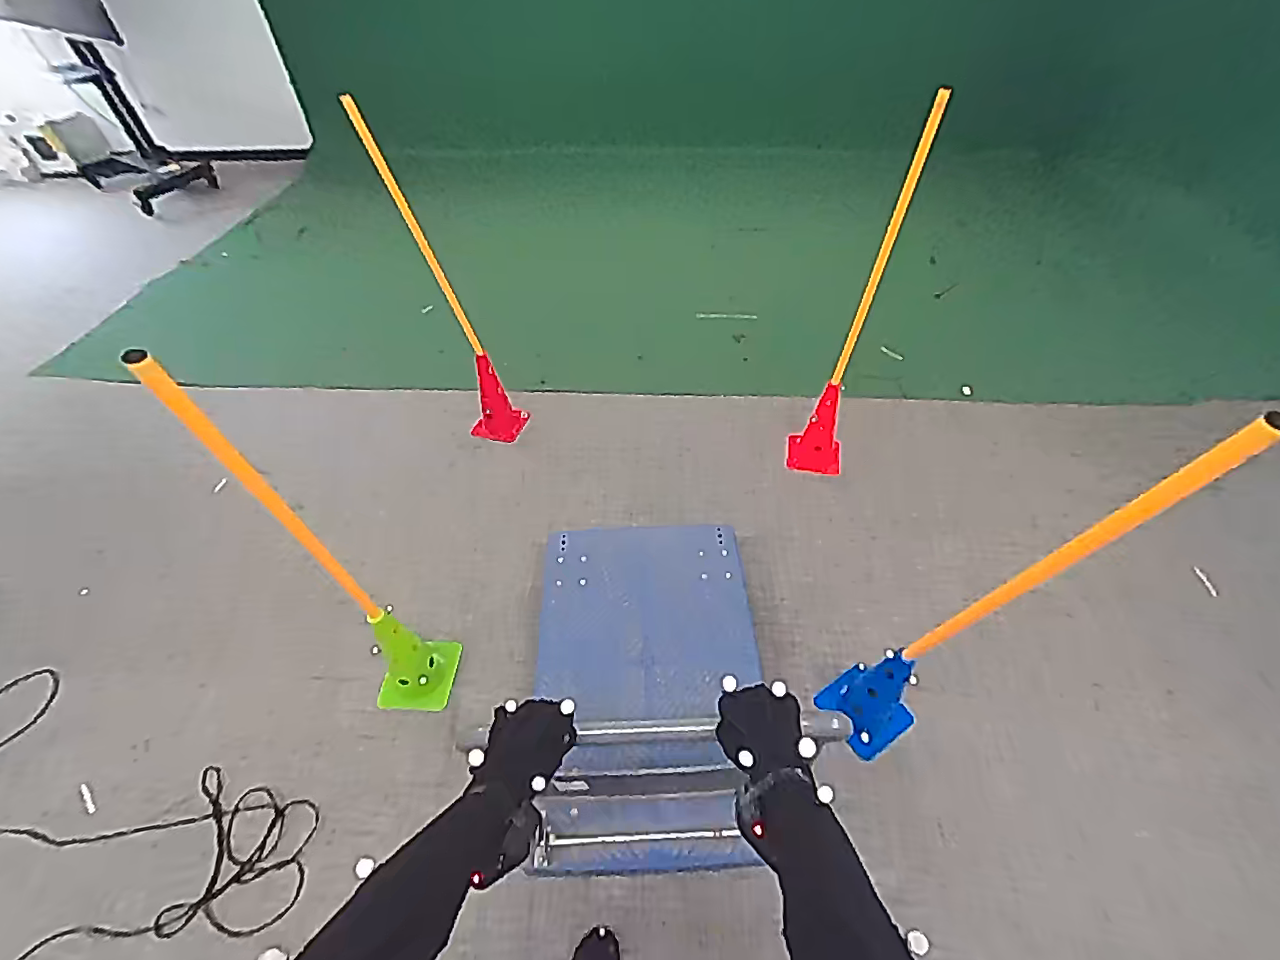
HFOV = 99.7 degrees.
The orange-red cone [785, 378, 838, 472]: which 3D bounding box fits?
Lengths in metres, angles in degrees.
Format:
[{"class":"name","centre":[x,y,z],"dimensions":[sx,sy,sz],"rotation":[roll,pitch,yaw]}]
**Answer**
[{"class":"orange-red cone","centre":[0.672,-0.225,2.003],"dimensions":[0.198,0.360,0.199],"rotation":[10,50,11]}]
